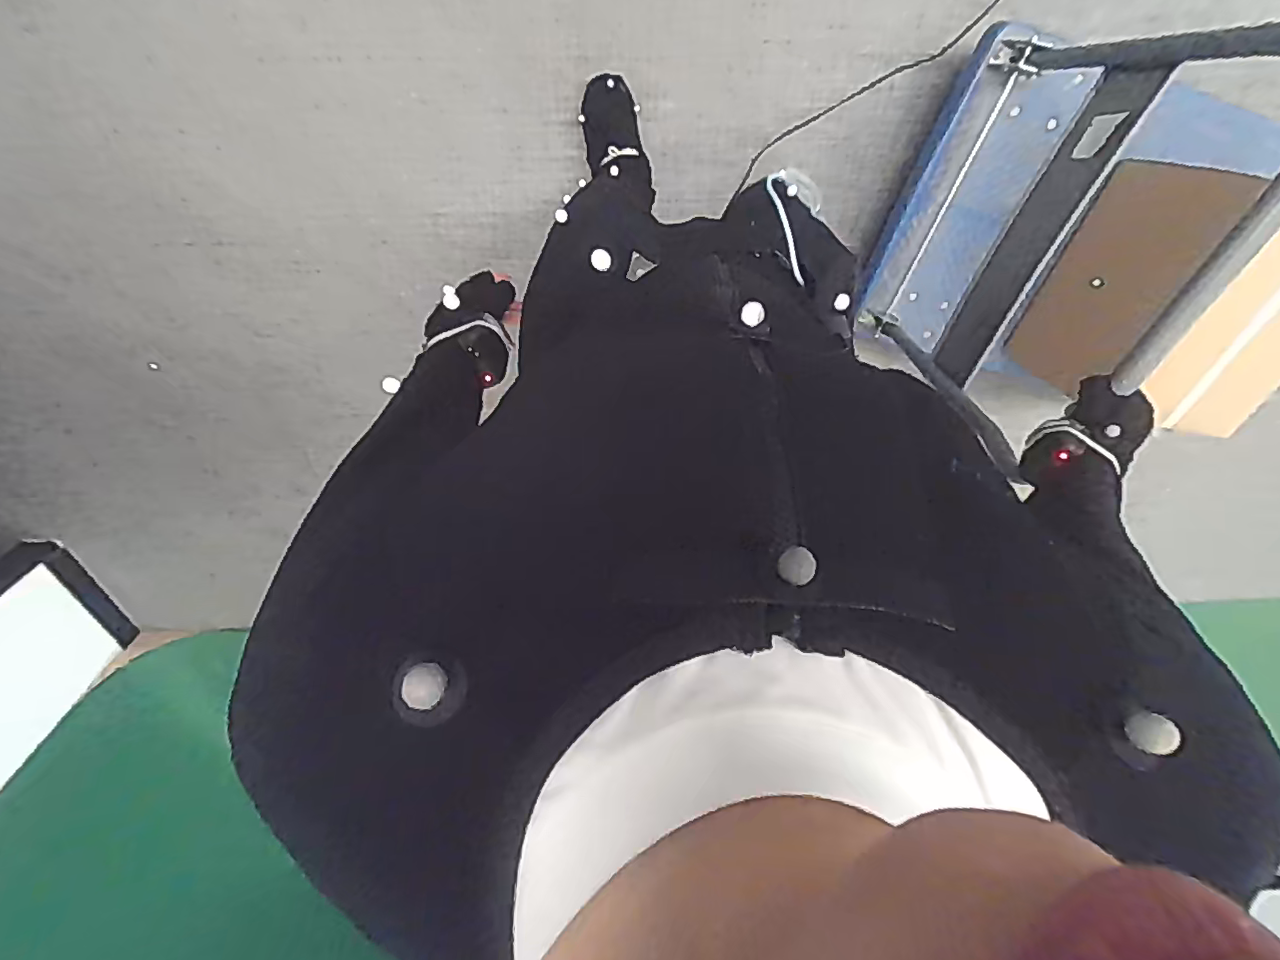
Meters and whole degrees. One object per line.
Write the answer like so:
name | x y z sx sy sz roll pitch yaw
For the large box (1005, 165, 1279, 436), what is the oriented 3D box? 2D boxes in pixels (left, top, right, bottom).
large box | 1.036 -0.350 1.060 0.320 0.320 0.408 8 124 -8
